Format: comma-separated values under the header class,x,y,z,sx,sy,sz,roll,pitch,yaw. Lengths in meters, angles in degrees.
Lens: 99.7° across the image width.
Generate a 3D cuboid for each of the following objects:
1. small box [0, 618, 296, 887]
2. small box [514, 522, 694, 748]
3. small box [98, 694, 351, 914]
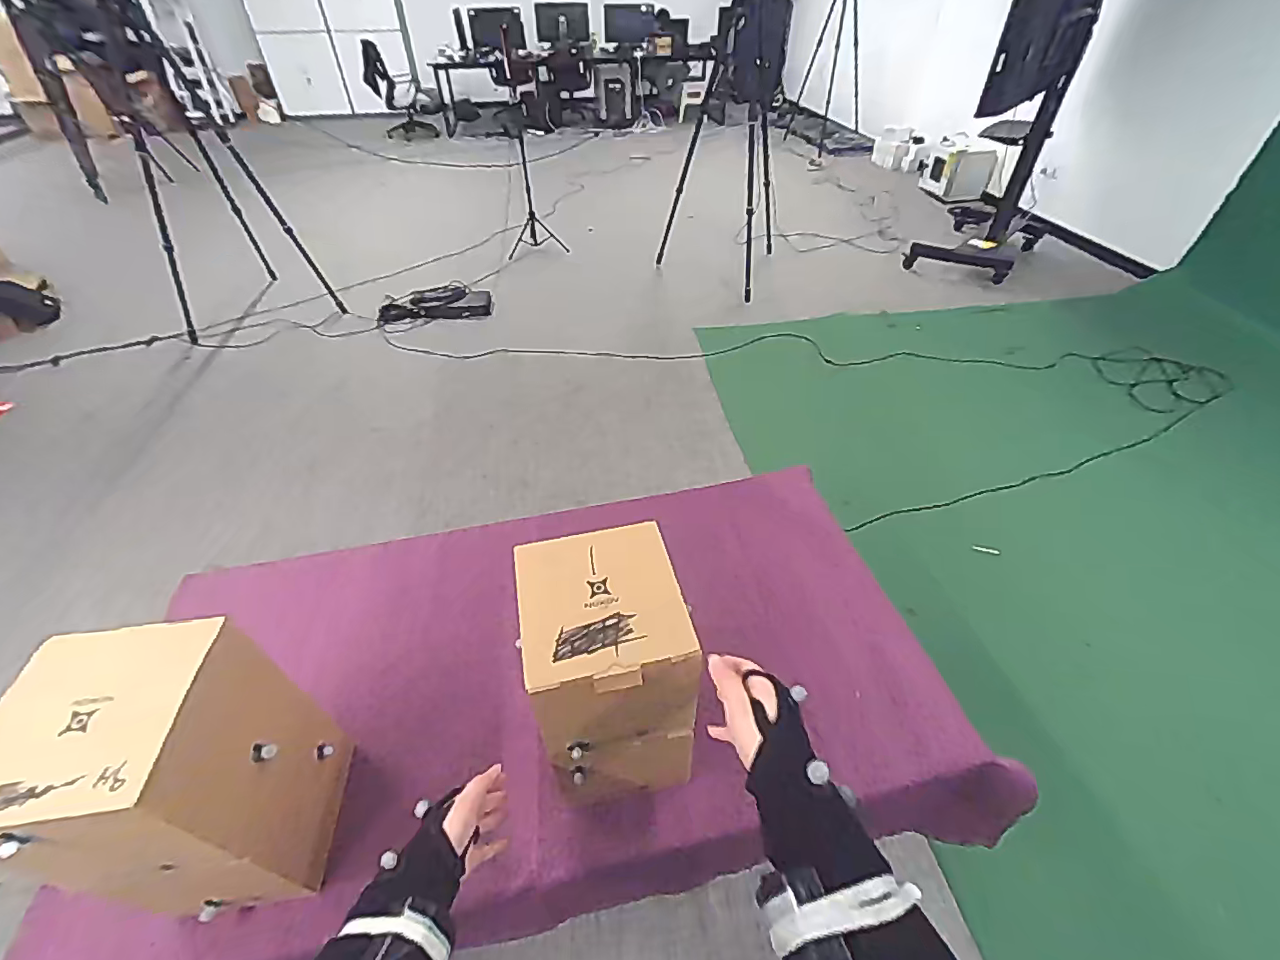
class,x,y,z,sx,sy,sz,roll,pitch,yaw
small box,-0.477,0.264,0.531,0.168,0.176,0.179,-7,42,-4
small box,-0.041,0.178,0.609,0.168,0.176,0.179,-10,43,-9
small box,-0.472,0.384,0.644,0.168,0.176,0.179,-6,44,-4
